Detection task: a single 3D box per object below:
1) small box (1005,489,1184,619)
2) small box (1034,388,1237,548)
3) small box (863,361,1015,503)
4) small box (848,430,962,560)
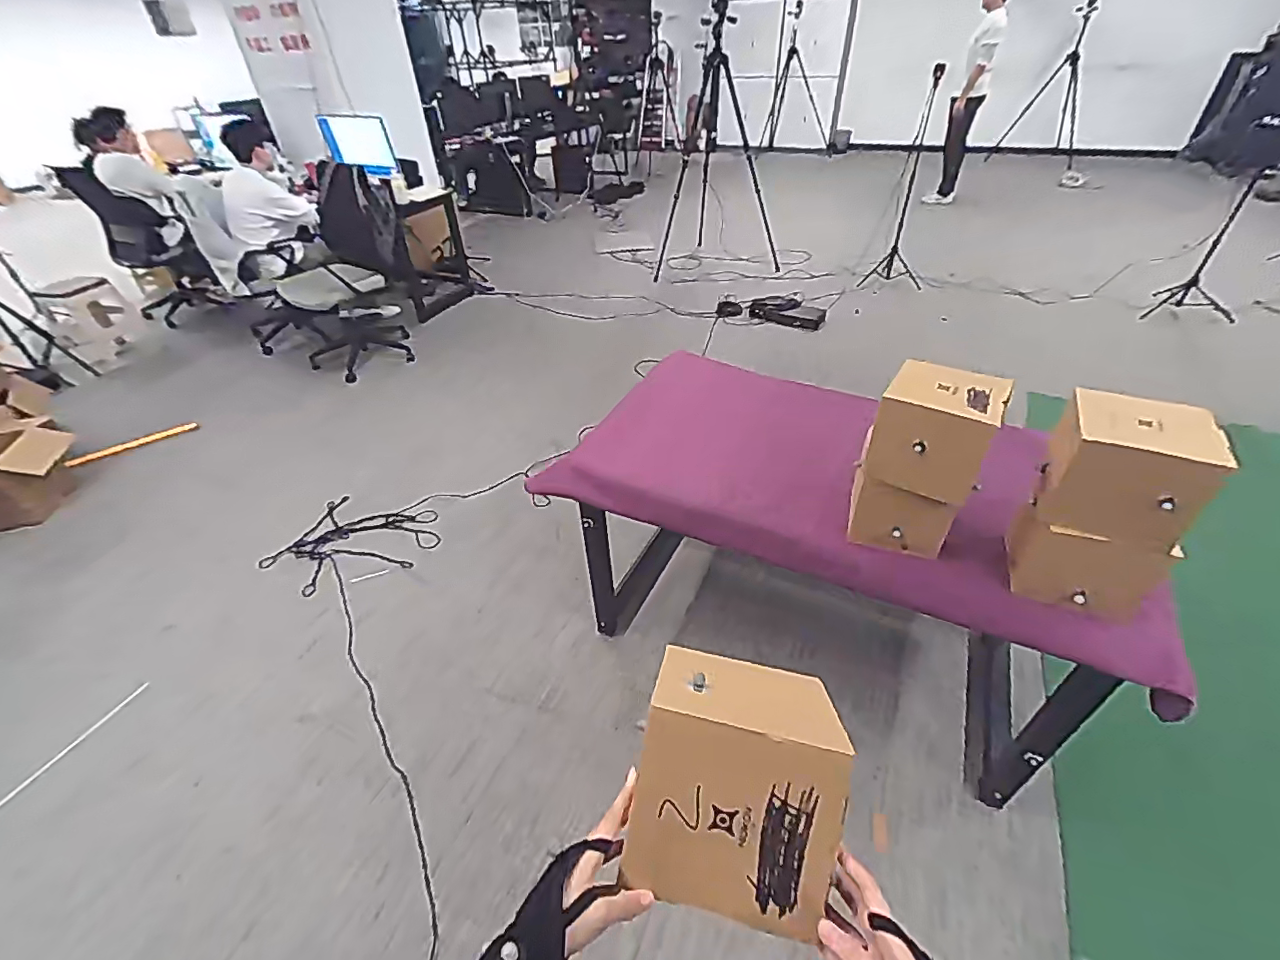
[{"bbox_3d":[0.771,0.116,0.942,0.179,0.176,0.168,13,42,20],"label":"small box"},{"bbox_3d":[0.756,-0.018,0.849,0.179,0.176,0.168,17,43,24],"label":"small box"},{"bbox_3d":[0.515,-0.084,0.946,0.179,0.176,0.168,22,44,29],"label":"small box"},{"bbox_3d":[0.518,0.026,1.071,0.168,0.176,0.179,11,41,18],"label":"small box"}]
